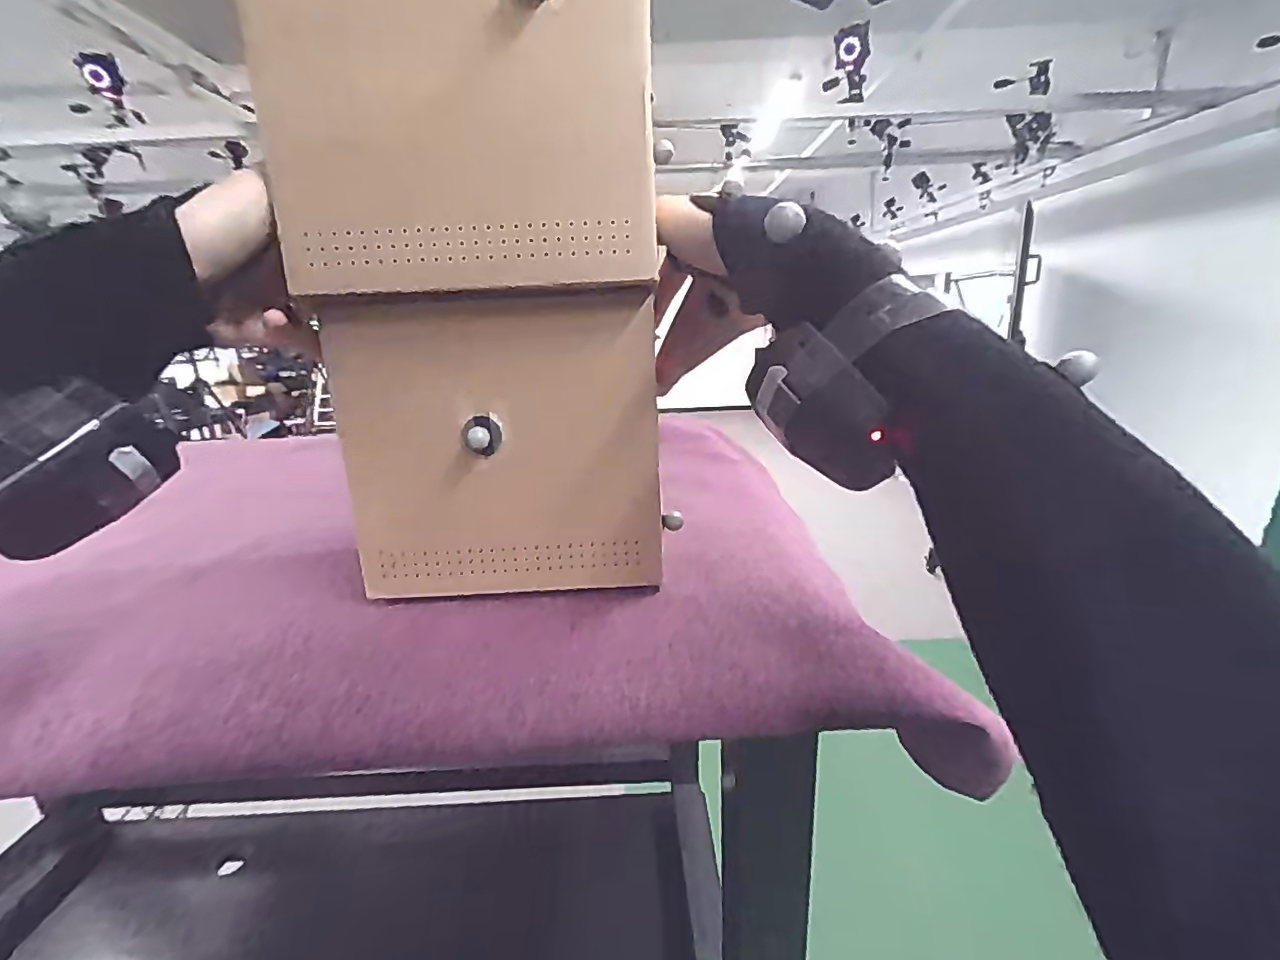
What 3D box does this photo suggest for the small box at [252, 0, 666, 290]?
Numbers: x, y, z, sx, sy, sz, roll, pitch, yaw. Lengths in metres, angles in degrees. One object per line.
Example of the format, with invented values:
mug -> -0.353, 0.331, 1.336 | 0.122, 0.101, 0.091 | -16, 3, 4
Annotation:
small box -> -0.076, -0.195, 0.308 | 0.179, 0.176, 0.168 | -3, 13, -1

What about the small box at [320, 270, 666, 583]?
small box -> -0.072, -0.041, 0.367 | 0.179, 0.176, 0.168 | -3, 14, 0
